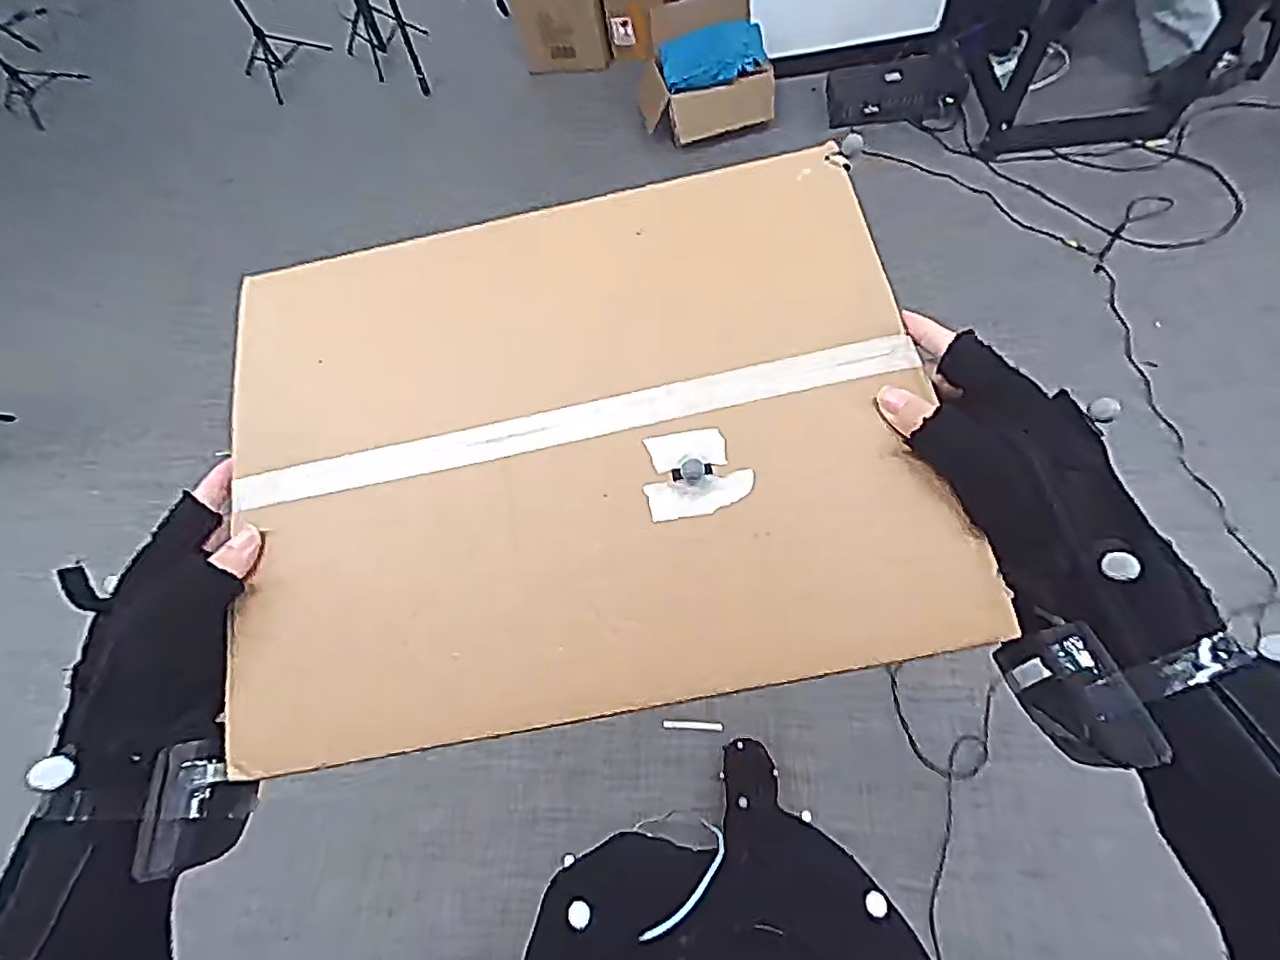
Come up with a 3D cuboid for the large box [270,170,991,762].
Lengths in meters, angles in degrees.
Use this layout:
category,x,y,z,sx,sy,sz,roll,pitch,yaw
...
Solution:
category,x,y,z,sx,sy,sz,roll,pitch,yaw
large box,-0.023,0.013,0.474,0.408,0.320,0.320,-12,74,2
